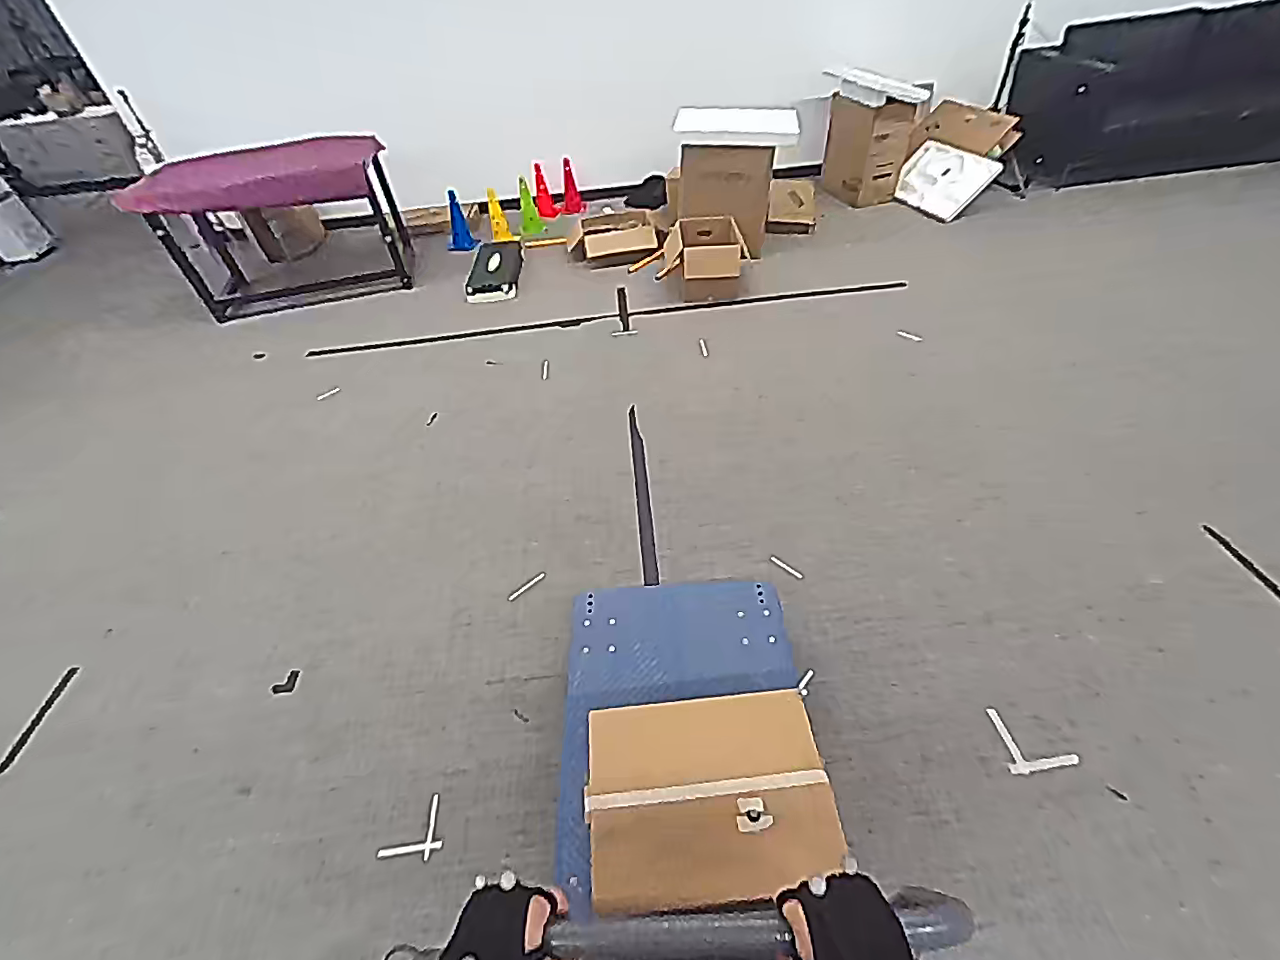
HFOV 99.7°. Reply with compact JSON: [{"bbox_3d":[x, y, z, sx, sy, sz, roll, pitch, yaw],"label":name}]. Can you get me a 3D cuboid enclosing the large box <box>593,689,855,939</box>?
[{"bbox_3d":[0.129,0.638,1.032,0.408,0.320,0.320,-6,46,-1],"label":"large box"}]
